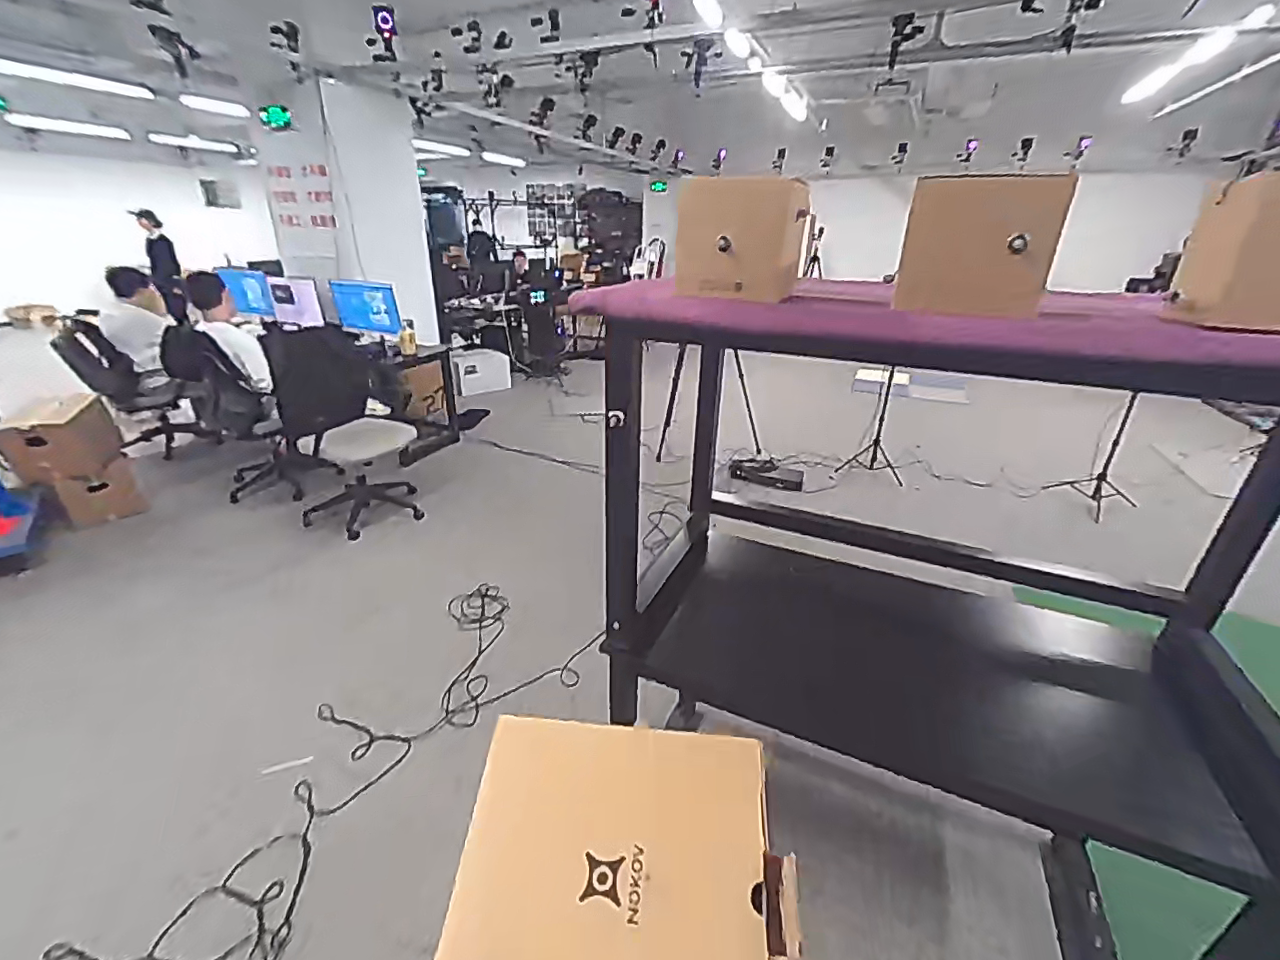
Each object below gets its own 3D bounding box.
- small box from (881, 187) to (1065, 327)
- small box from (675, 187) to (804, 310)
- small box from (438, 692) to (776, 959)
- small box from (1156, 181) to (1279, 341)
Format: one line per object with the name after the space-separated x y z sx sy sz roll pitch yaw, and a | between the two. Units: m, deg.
0.457 -0.314 0.770 0.179 0.176 0.168 10 25 21 | small box
0.161 -0.376 0.880 0.168 0.176 0.179 13 26 20 | small box
-0.010 0.264 0.370 0.179 0.176 0.168 3 48 5 | small box
0.784 -0.260 0.661 0.179 0.176 0.168 12 24 23 | small box
